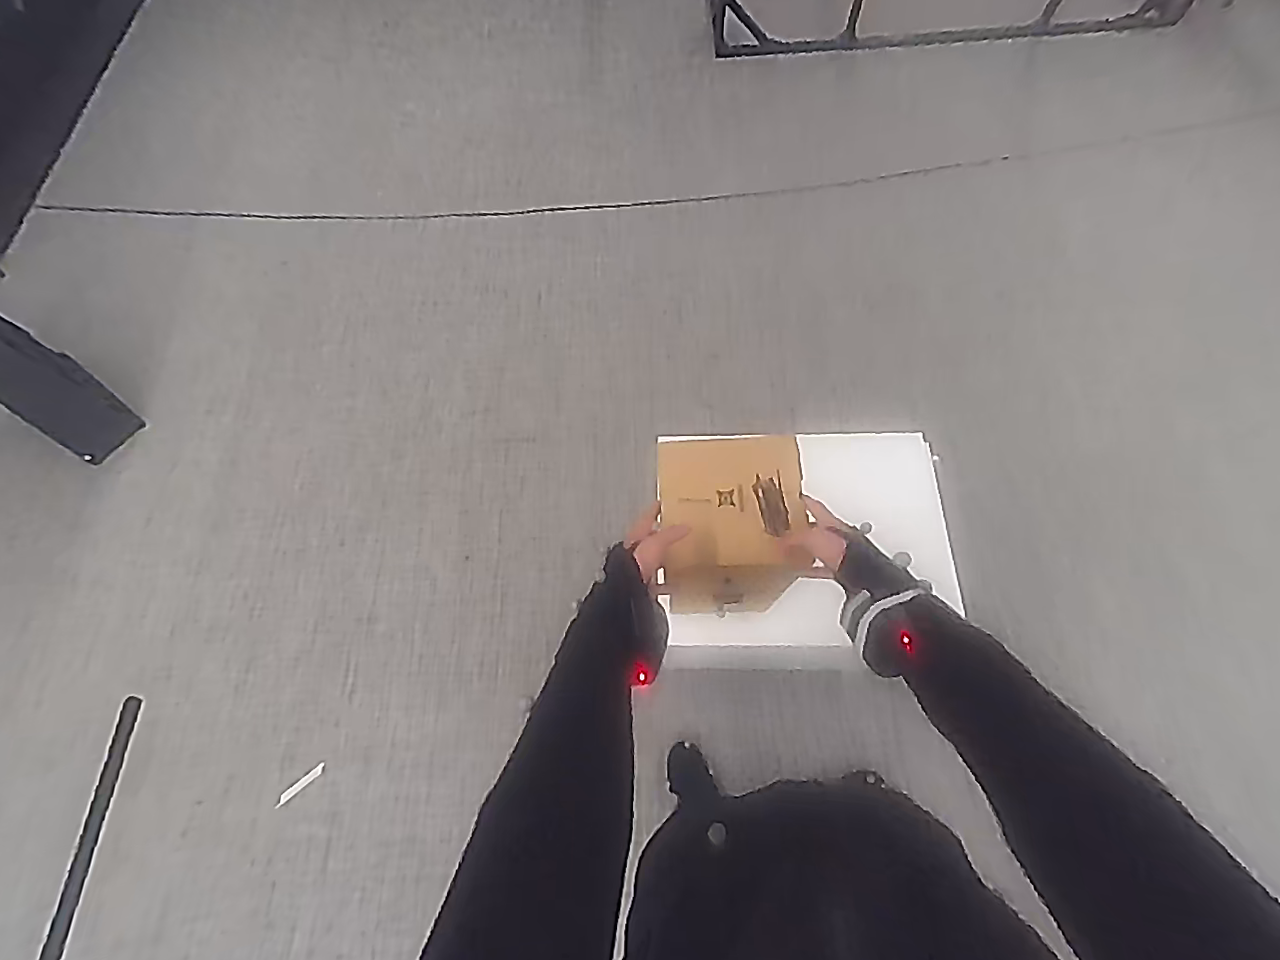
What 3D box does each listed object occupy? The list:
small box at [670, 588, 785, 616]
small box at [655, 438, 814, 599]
[{"bbox_3d":[0.127,0.116,0.867,0.168,0.176,0.179,-2,67,3],"label":"small box"},{"bbox_3d":[0.111,0.058,0.711,0.179,0.176,0.168,-4,67,3],"label":"small box"}]
